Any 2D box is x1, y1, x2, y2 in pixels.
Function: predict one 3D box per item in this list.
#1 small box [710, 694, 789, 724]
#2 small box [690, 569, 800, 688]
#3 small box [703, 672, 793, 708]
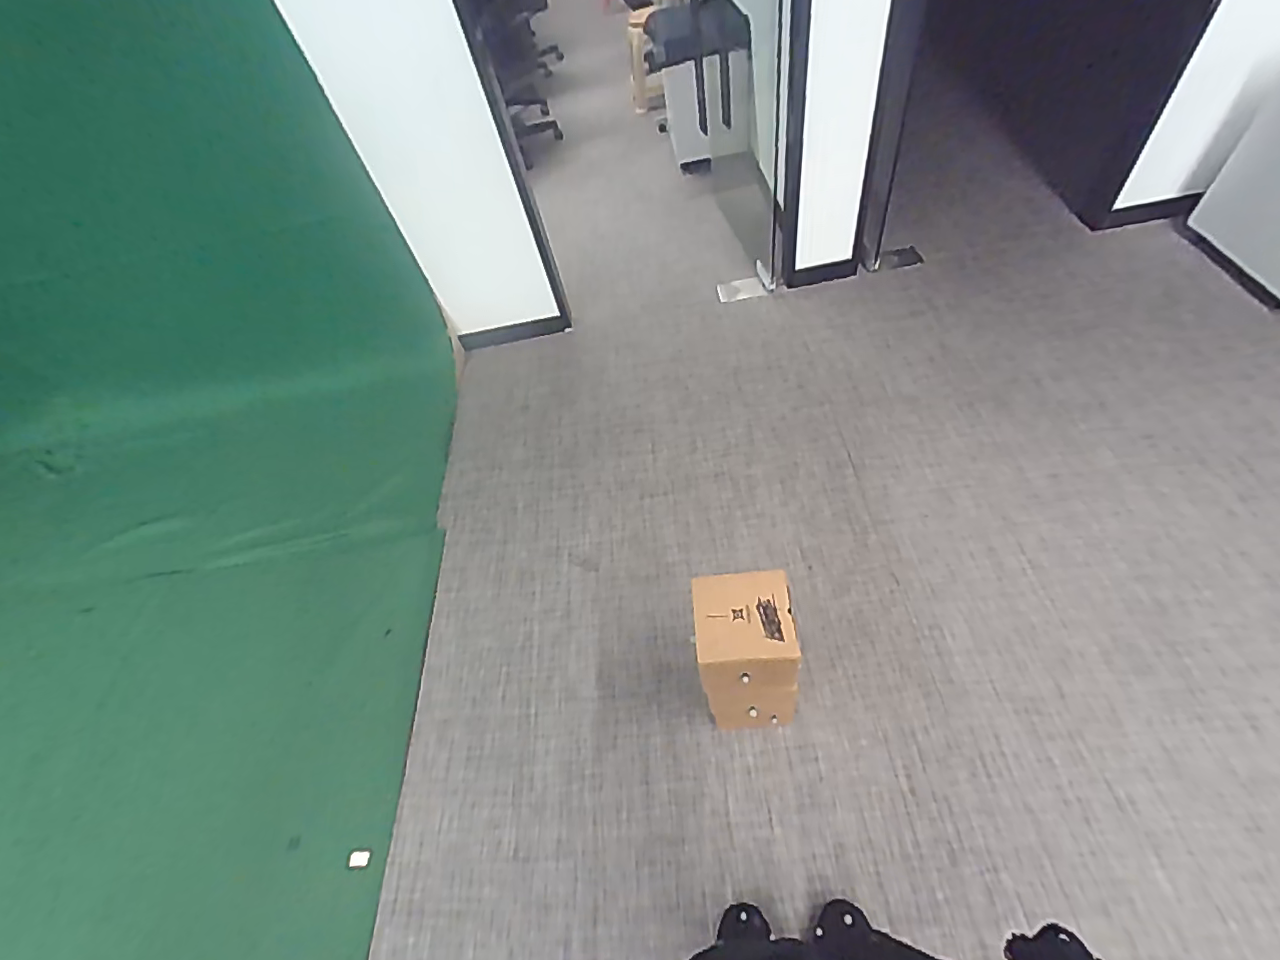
[{"bbox_3d":[0.251,0.474,1.292,0.179,0.176,0.168,-9,52,7],"label":"small box"},{"bbox_3d":[0.192,0.286,1.029,0.179,0.176,0.168,-7,53,5],"label":"small box"},{"bbox_3d":[0.223,0.383,1.159,0.179,0.176,0.168,-4,53,8],"label":"small box"}]
